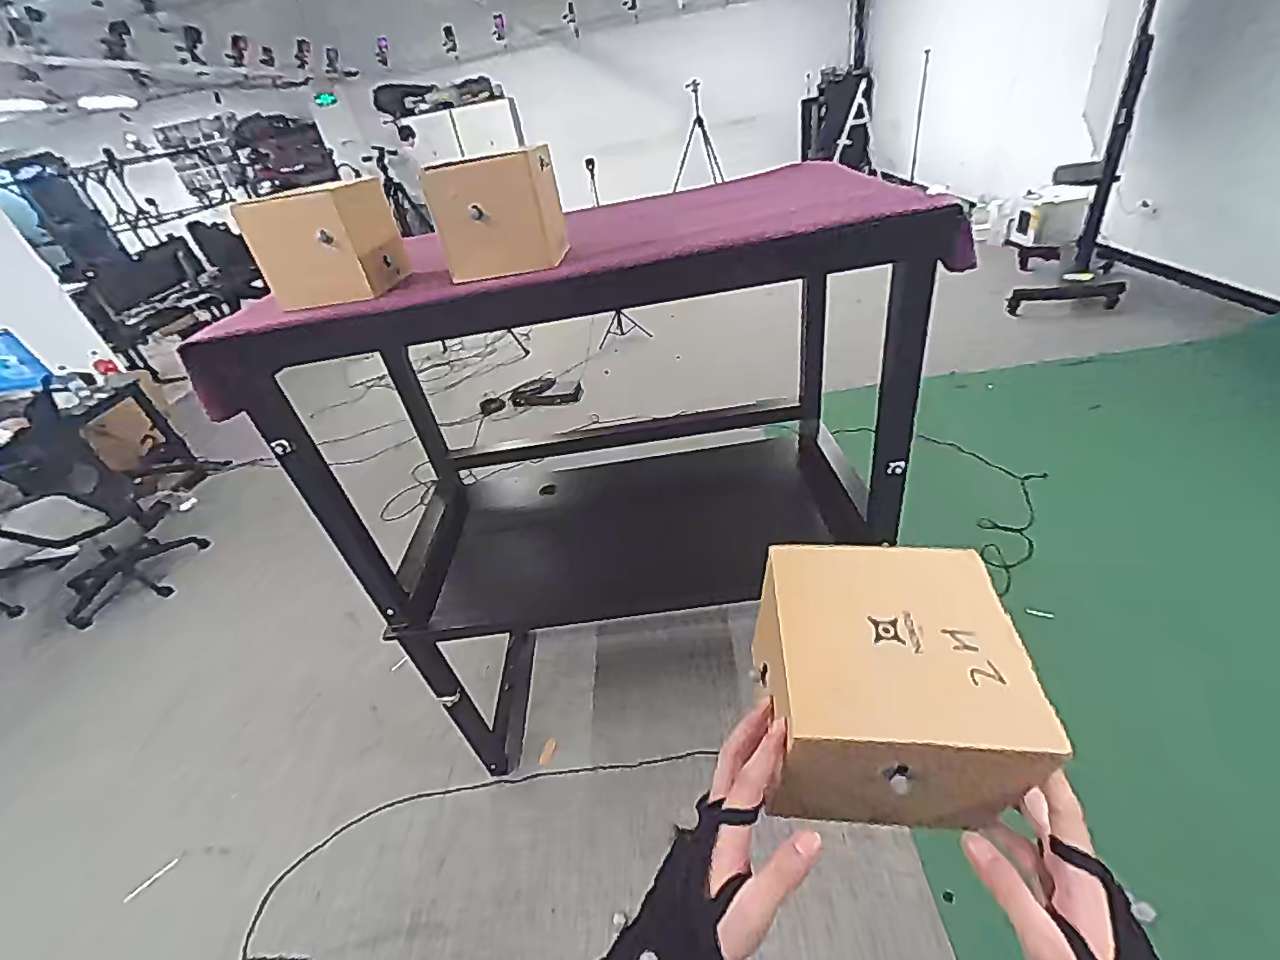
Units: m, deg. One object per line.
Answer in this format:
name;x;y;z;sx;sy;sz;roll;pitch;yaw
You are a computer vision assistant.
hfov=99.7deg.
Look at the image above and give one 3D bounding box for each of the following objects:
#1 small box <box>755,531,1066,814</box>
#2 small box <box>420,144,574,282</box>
small box;0.191;0.161;0.452;0.179;0.176;0.168;1;44;6
small box;-0.224;-0.441;0.897;0.179;0.176;0.168;-7;34;8
